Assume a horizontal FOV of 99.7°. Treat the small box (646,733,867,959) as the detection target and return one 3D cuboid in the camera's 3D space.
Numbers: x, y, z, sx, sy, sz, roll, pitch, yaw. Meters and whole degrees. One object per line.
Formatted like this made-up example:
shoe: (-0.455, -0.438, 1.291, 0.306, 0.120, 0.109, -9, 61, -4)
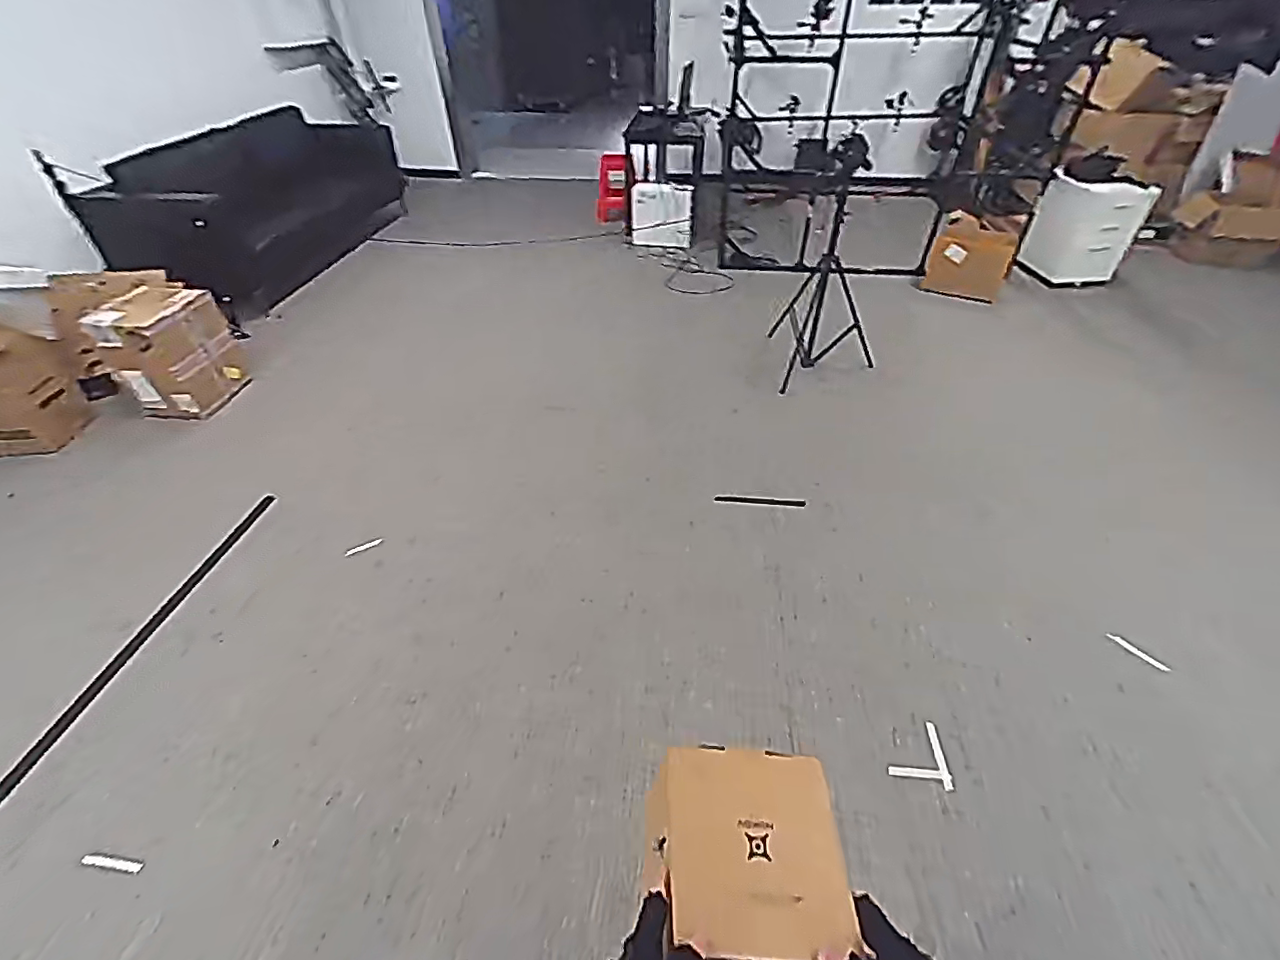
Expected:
small box: (0.099, 0.393, 0.554, 0.168, 0.176, 0.179, 7, 37, -3)
